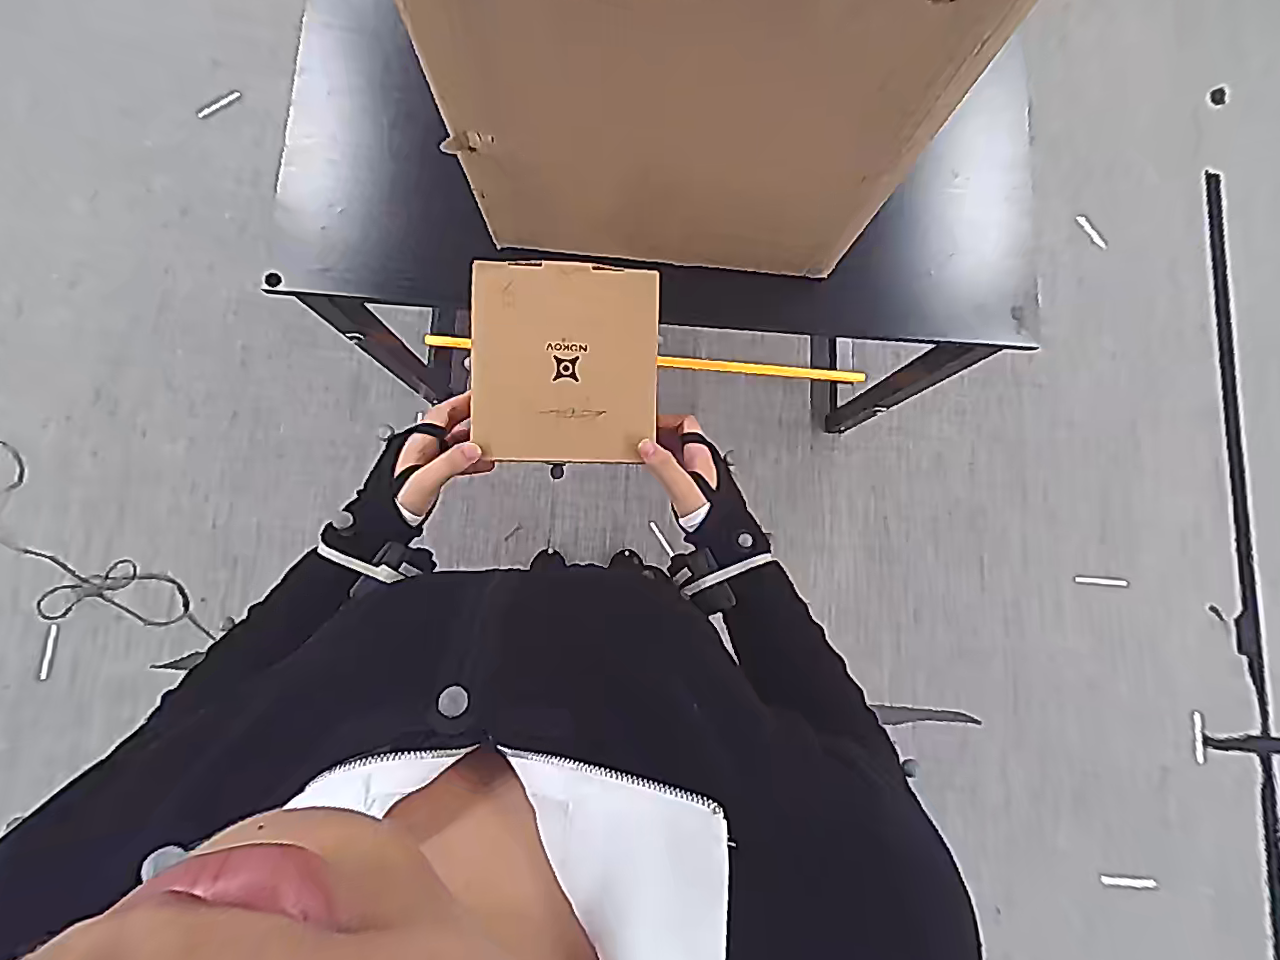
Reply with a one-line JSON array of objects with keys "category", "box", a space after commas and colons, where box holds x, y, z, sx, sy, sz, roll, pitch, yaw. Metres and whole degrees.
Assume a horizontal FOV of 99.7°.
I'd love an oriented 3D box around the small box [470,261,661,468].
[{"category": "small box", "box": [-0.074, -0.103, 0.557, 0.168, 0.176, 0.179, 1, 92, -6]}]
